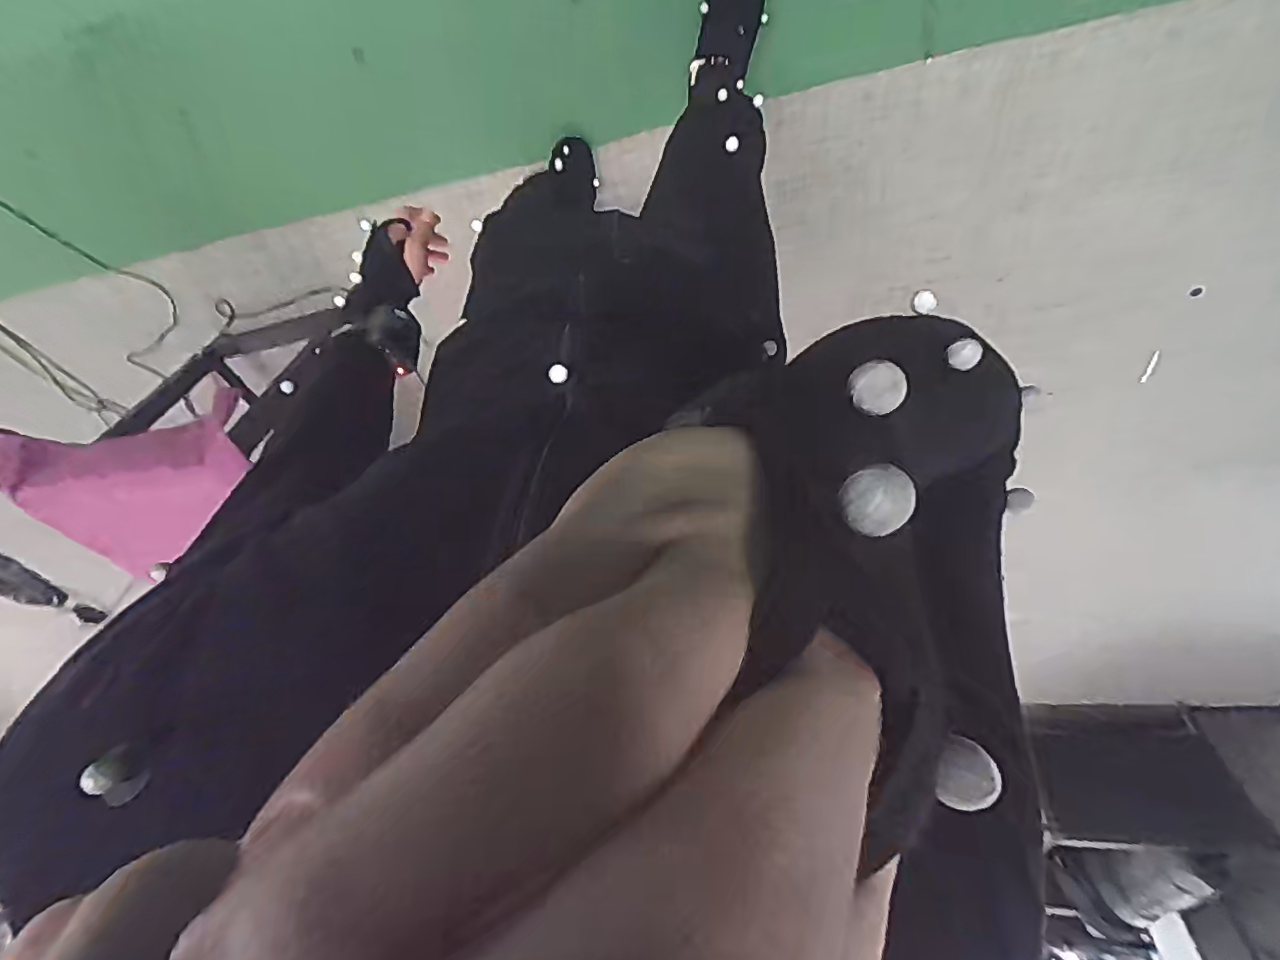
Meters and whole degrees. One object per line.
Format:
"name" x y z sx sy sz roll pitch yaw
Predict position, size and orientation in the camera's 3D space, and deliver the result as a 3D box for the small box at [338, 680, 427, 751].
"small box" -0.838 0.775 1.781 0.179 0.176 0.168 -9 134 14
